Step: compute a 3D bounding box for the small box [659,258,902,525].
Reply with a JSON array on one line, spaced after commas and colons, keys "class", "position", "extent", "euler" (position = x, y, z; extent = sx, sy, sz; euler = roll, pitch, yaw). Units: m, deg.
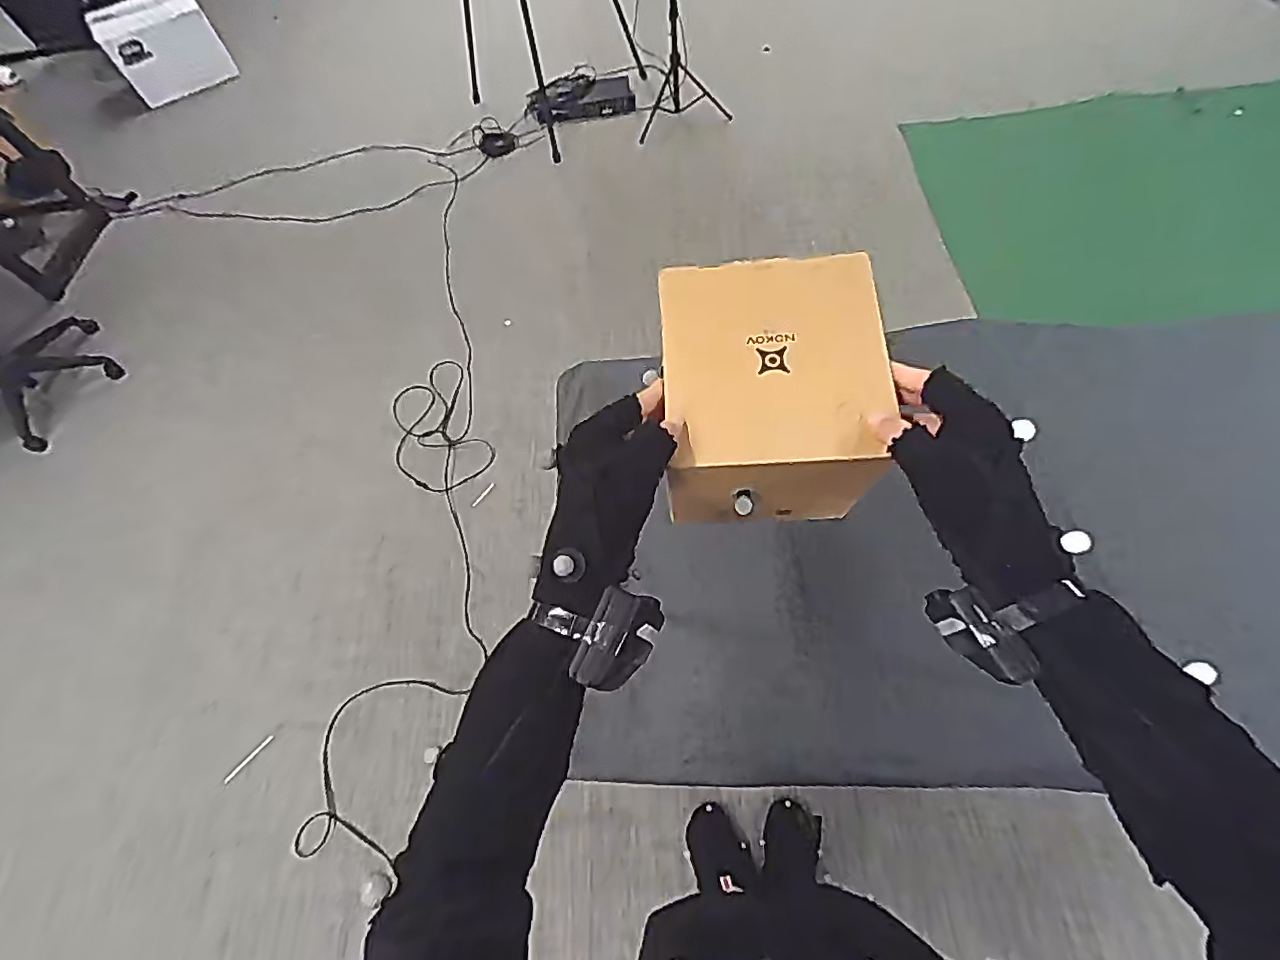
[{"class": "small box", "position": [0.107, -0.061, 0.478], "extent": [0.168, 0.176, 0.179], "euler": [-3, 70, 5]}]
